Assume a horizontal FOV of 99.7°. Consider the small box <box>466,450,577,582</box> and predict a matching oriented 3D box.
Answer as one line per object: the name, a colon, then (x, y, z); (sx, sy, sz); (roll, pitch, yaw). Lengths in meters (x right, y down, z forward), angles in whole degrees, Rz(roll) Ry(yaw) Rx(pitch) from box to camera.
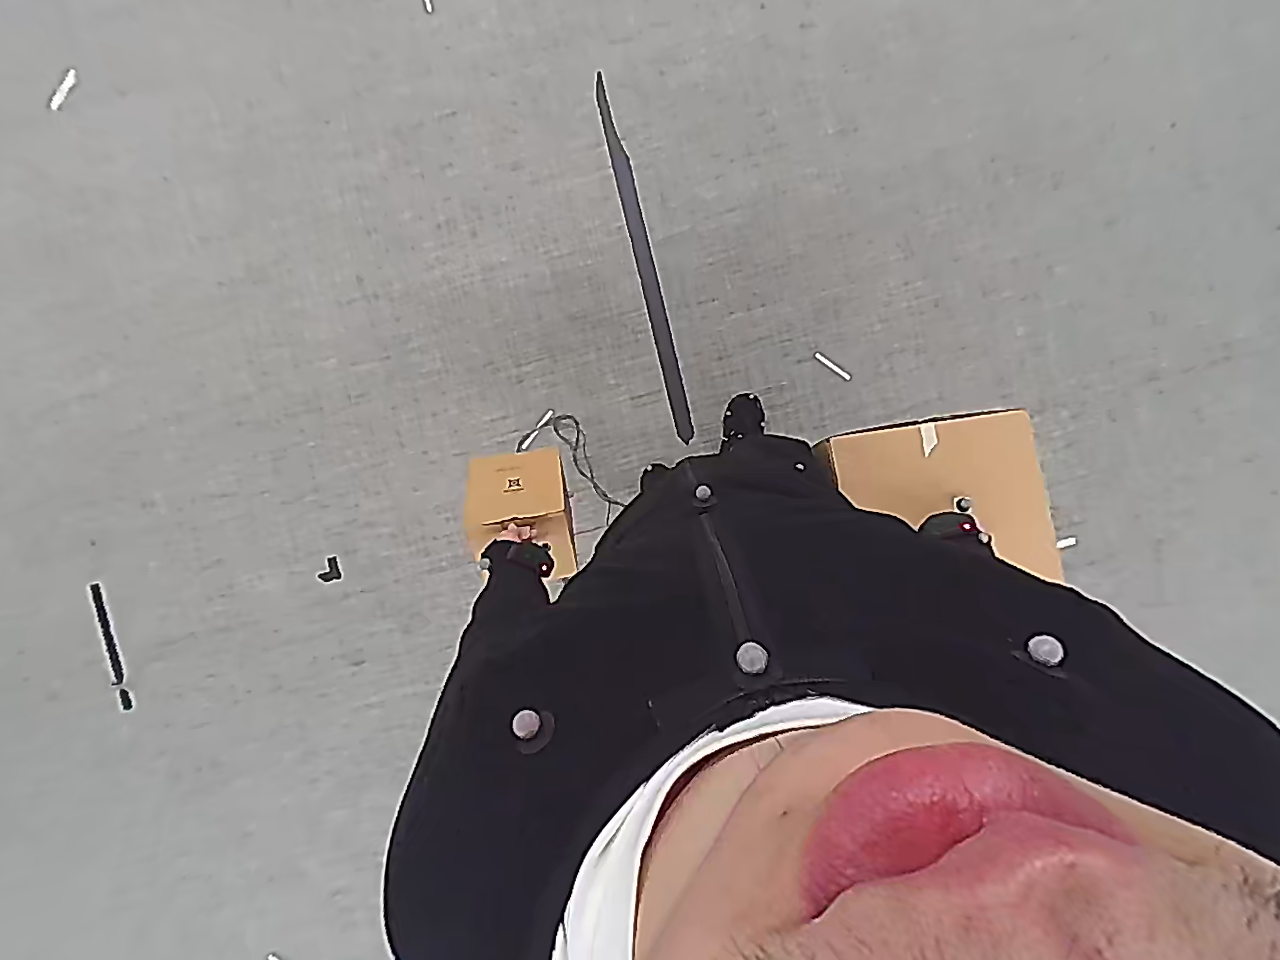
small box: (-0.212, 0.071, 0.995); (0.168, 0.179, 0.176); (-9, 130, -6)
